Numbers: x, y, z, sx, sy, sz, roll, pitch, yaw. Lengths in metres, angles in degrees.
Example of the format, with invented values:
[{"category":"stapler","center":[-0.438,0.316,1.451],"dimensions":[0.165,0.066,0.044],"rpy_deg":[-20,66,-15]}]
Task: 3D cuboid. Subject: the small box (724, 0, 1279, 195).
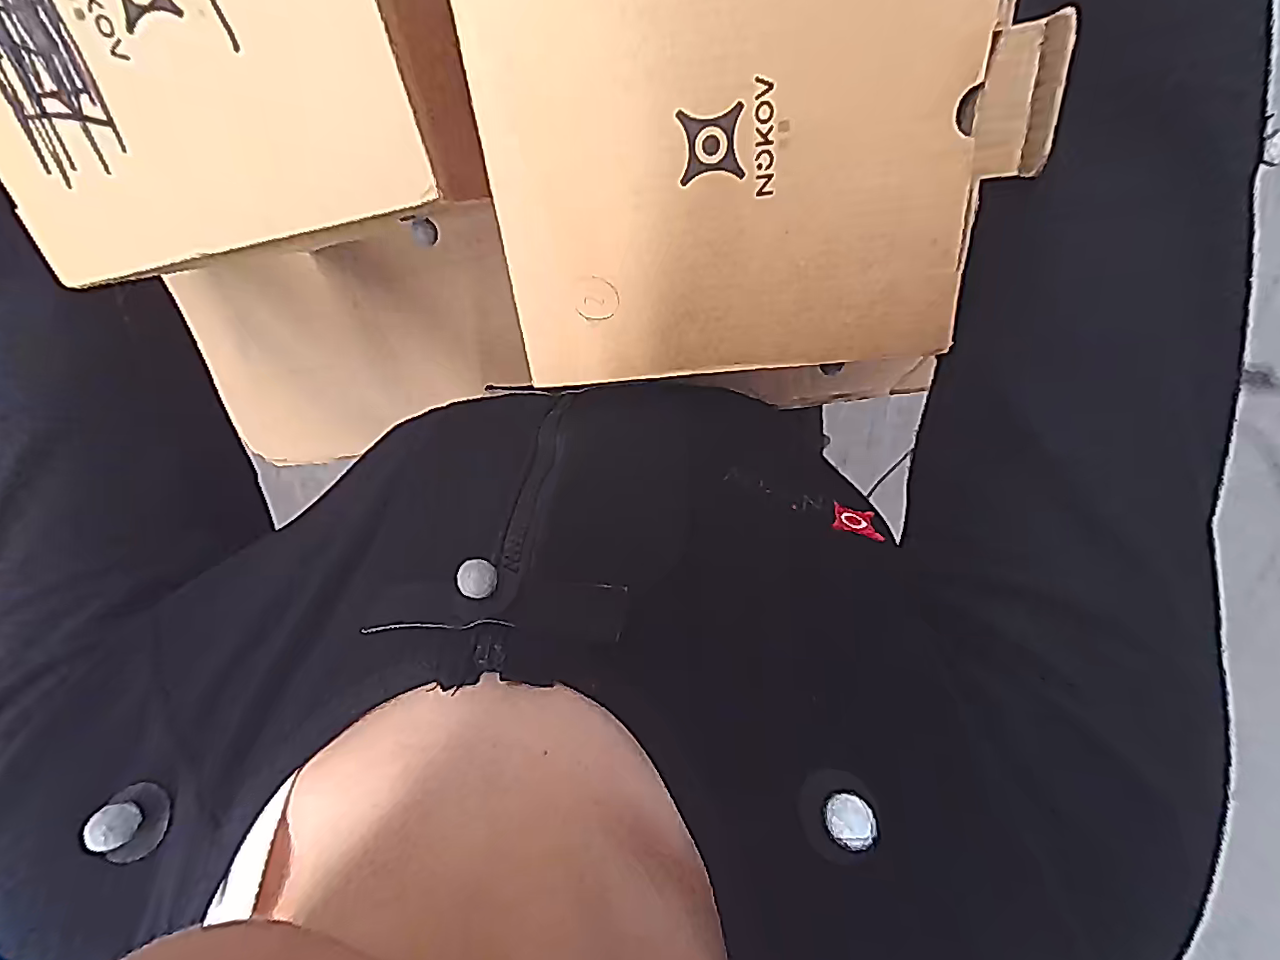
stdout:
[{"category":"small box","center":[0.134,-0.217,0.200],"dimensions":[0.179,0.176,0.168],"rpy_deg":[9,125,0]}]
